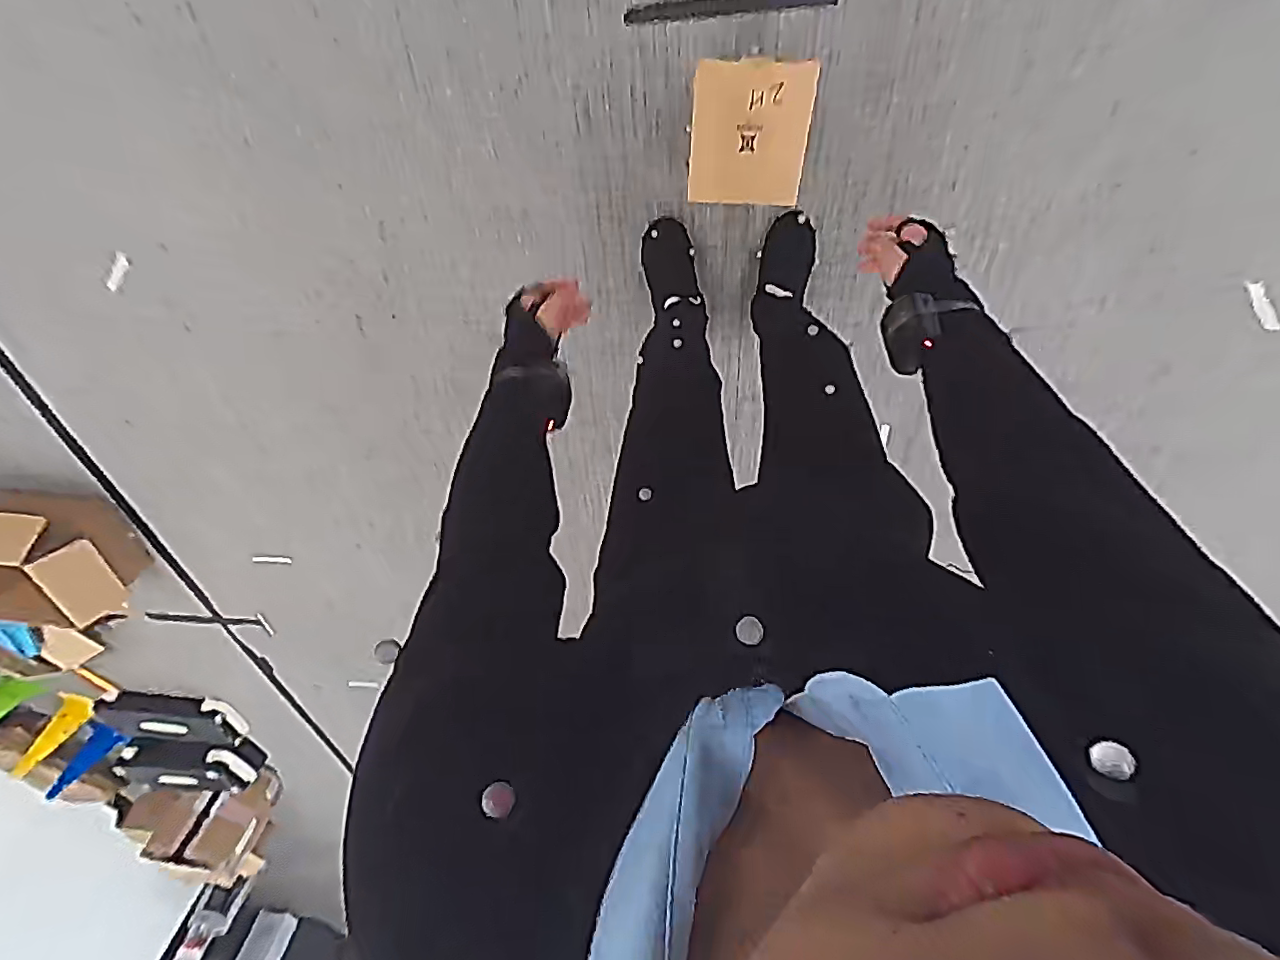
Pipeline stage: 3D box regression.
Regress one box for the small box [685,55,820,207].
[{"bbox_3d":[0.159,-0.531,0.821,0.168,0.176,0.179,4,127,3],"label":"small box"}]
